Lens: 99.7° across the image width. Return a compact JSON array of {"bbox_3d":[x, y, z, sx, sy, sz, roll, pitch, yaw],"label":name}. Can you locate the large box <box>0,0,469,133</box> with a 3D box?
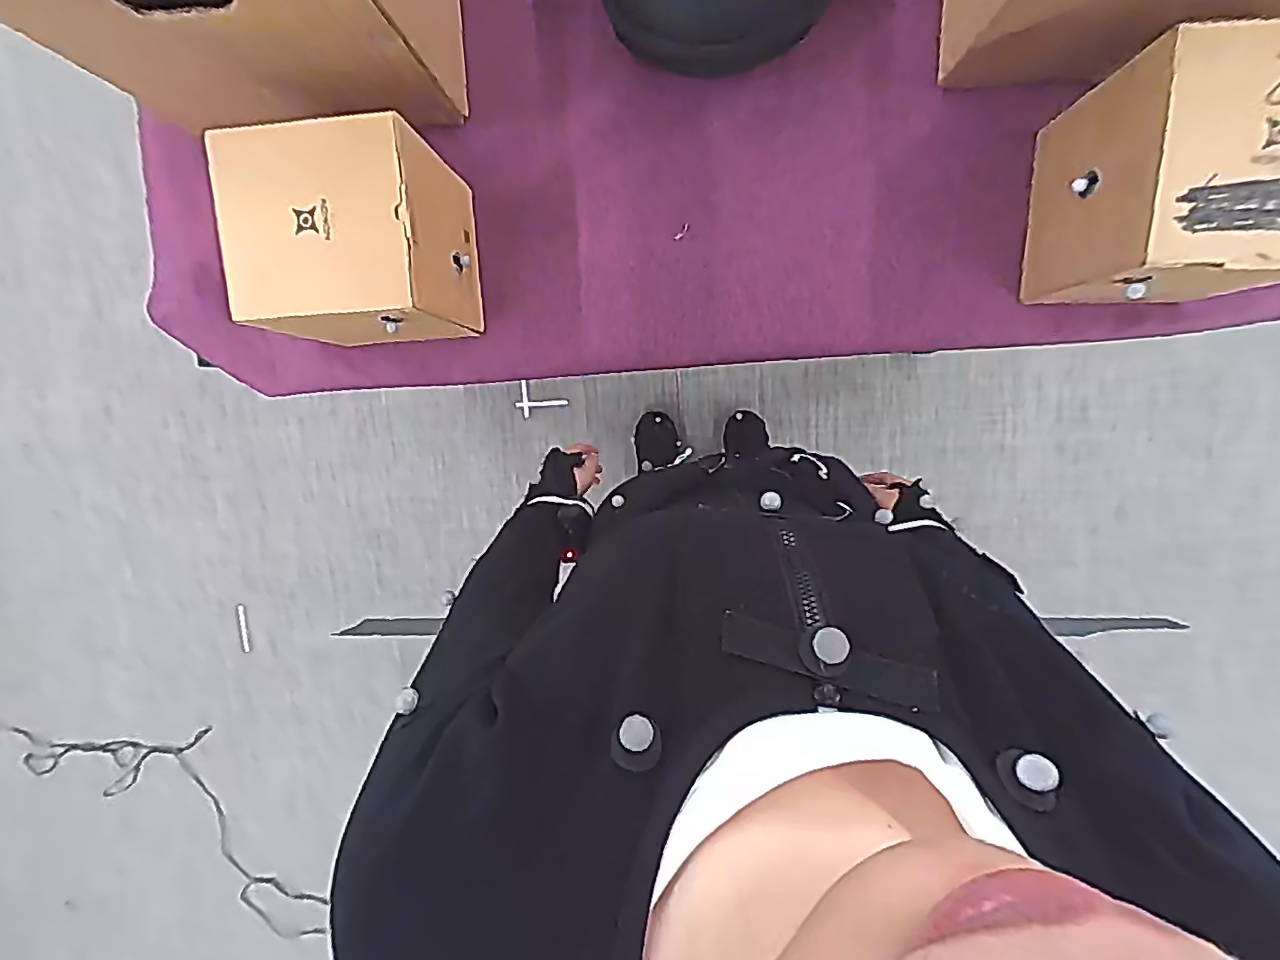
[{"bbox_3d":[-0.360,-0.572,0.446,0.320,0.320,0.408,-2,101,4],"label":"large box"}]

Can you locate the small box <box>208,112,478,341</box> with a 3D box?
[{"bbox_3d":[-0.289,-0.243,0.563,0.179,0.176,0.168,-4,97,4],"label":"small box"}]
